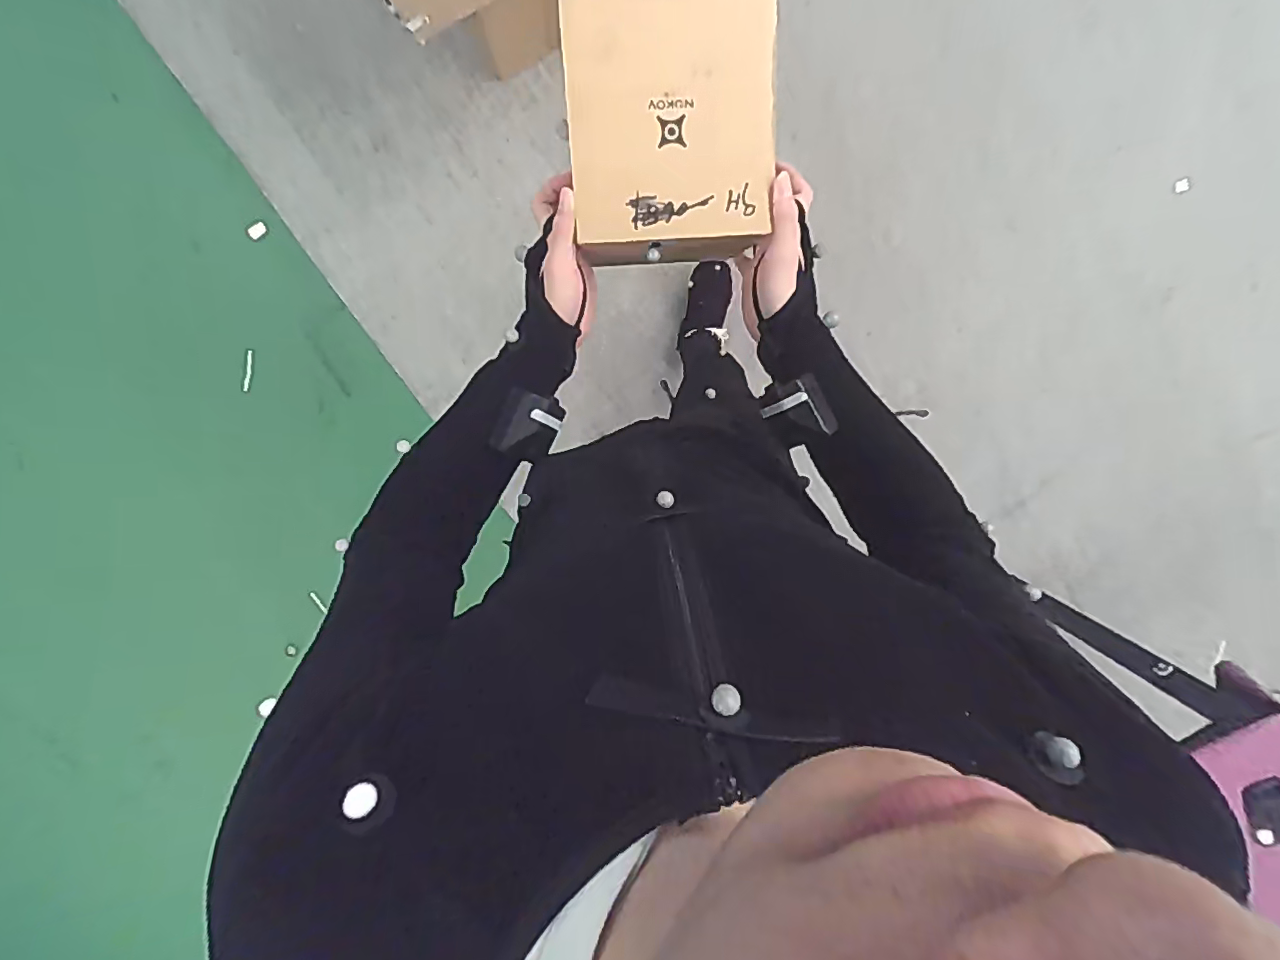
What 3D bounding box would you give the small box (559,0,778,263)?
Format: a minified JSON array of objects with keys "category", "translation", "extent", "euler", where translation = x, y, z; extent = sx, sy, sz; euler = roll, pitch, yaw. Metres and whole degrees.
[{"category":"small box","translation":[0.020,-0.305,0.490],"extent":[0.168,0.176,0.179],"euler":[-4,105,-1]}]
